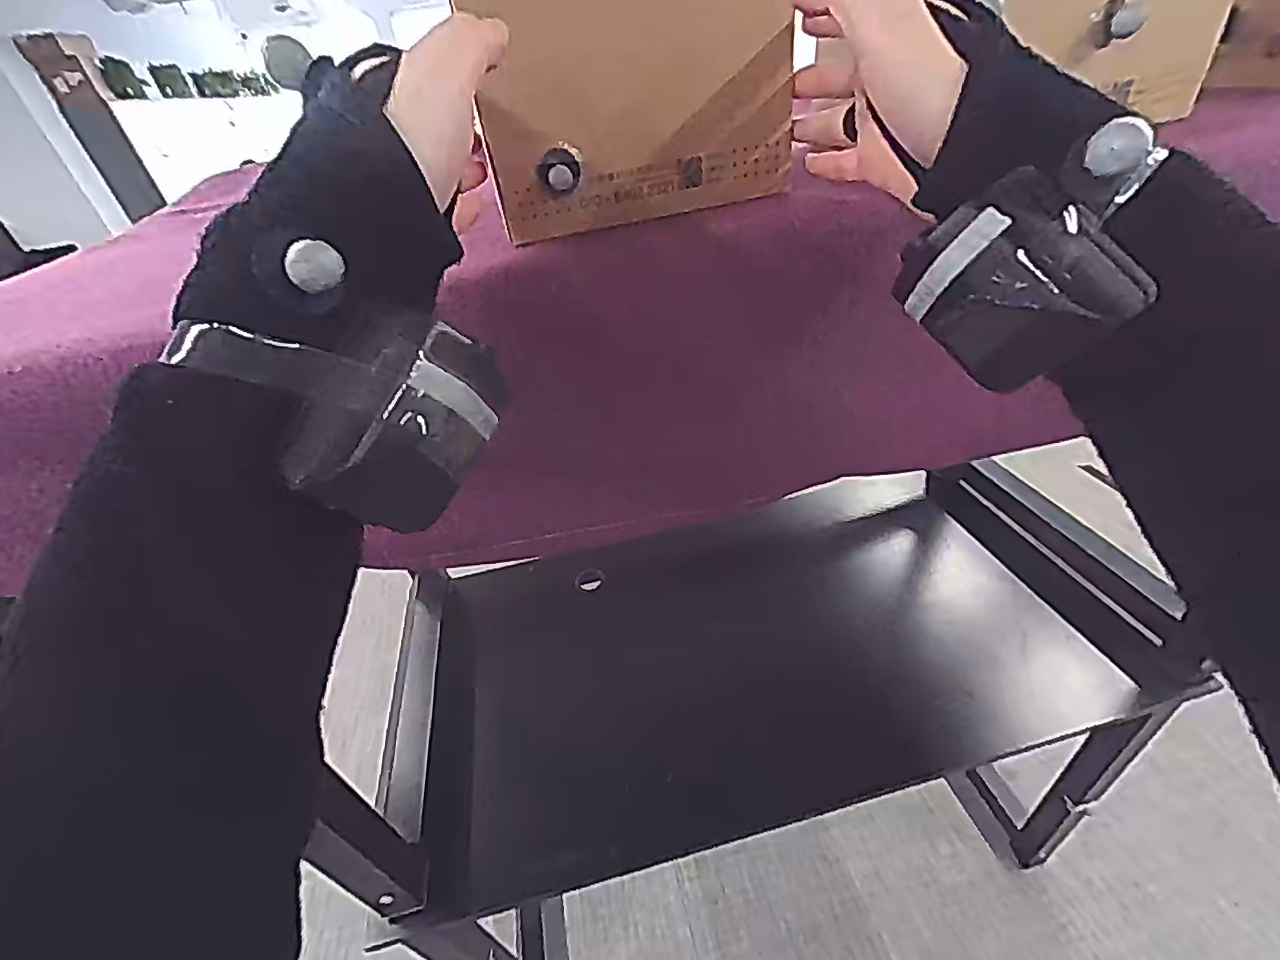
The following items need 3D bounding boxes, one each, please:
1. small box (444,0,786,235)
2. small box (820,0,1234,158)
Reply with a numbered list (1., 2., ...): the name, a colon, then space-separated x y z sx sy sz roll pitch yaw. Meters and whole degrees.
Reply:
1. small box: -0.022 -0.255 0.318 0.168 0.176 0.179 -15 36 -8
2. small box: 0.230 -0.314 0.342 0.168 0.176 0.179 -15 37 -7
